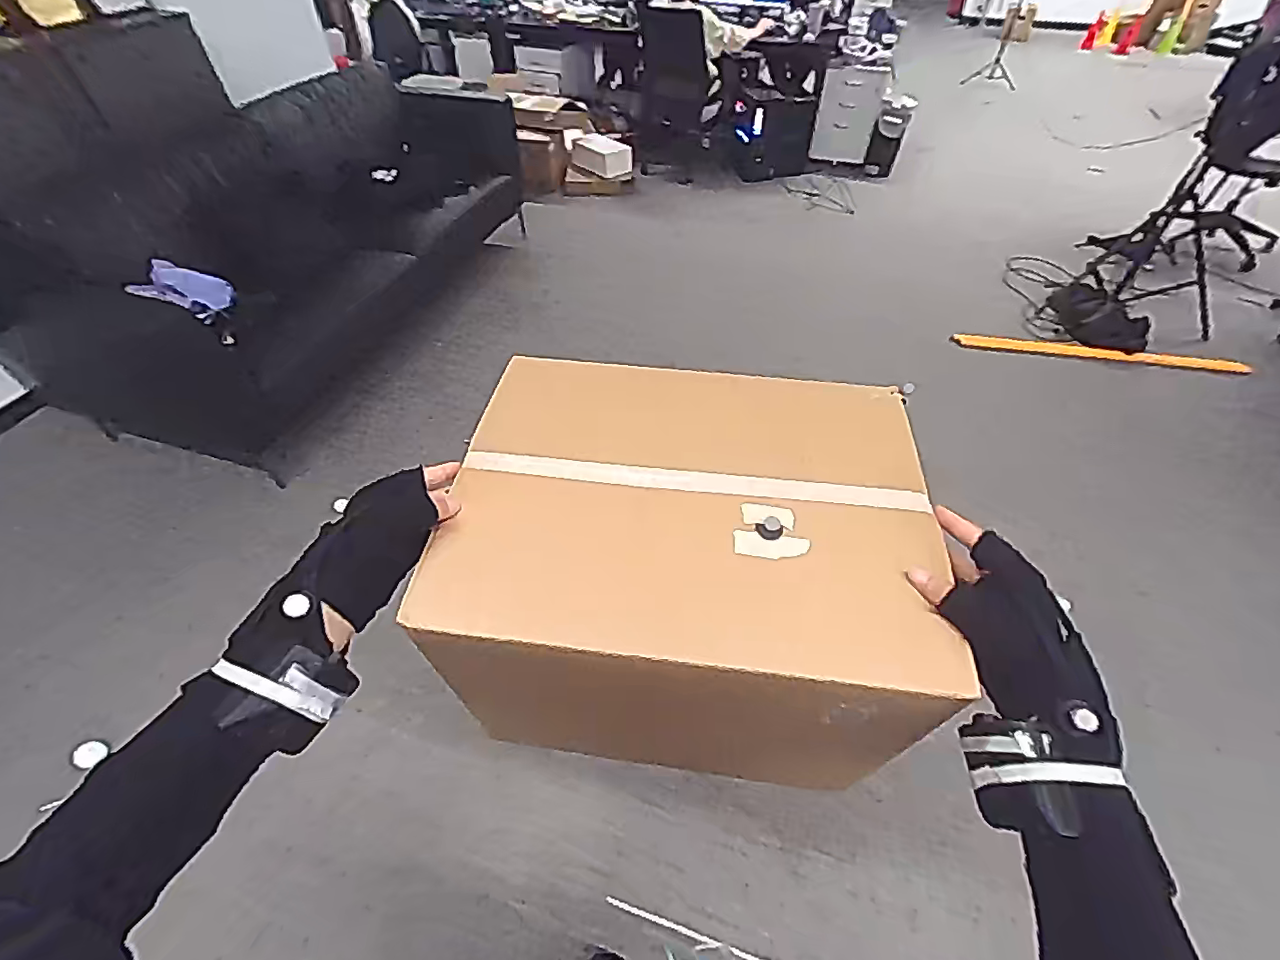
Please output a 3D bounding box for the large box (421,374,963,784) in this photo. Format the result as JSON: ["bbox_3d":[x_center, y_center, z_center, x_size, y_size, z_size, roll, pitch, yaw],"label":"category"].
[{"bbox_3d":[0.044,0.111,0.597,0.408,0.320,0.320,6,50,4],"label":"large box"}]
